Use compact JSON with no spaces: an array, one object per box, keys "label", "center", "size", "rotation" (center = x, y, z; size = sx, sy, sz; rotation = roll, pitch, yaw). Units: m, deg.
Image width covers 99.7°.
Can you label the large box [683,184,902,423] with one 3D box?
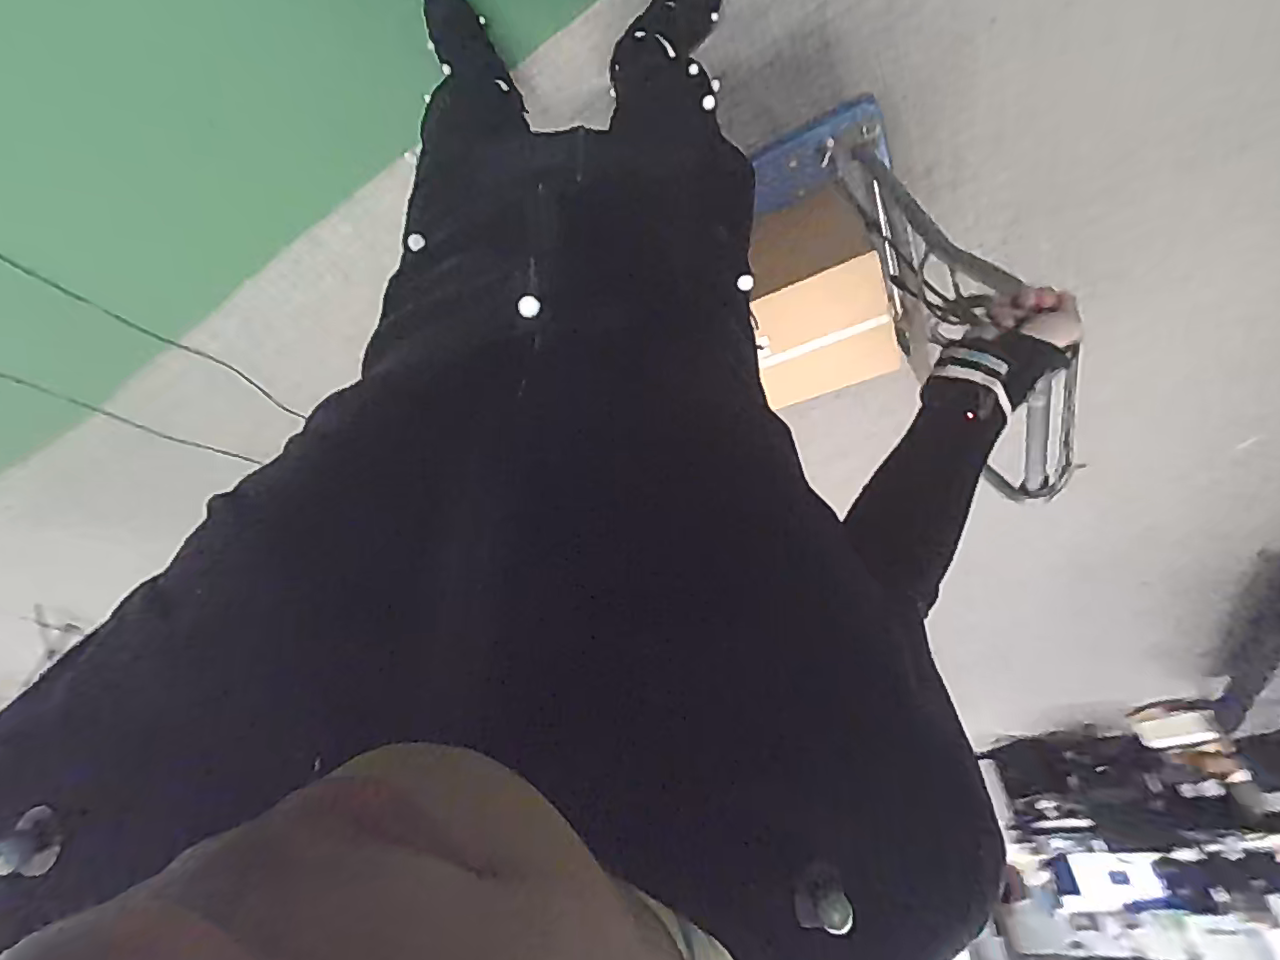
[{"label":"large box","center":[0.341,-0.395,1.258],"size":[0.408,0.320,0.320],"rotation":[-16,137,23]}]
